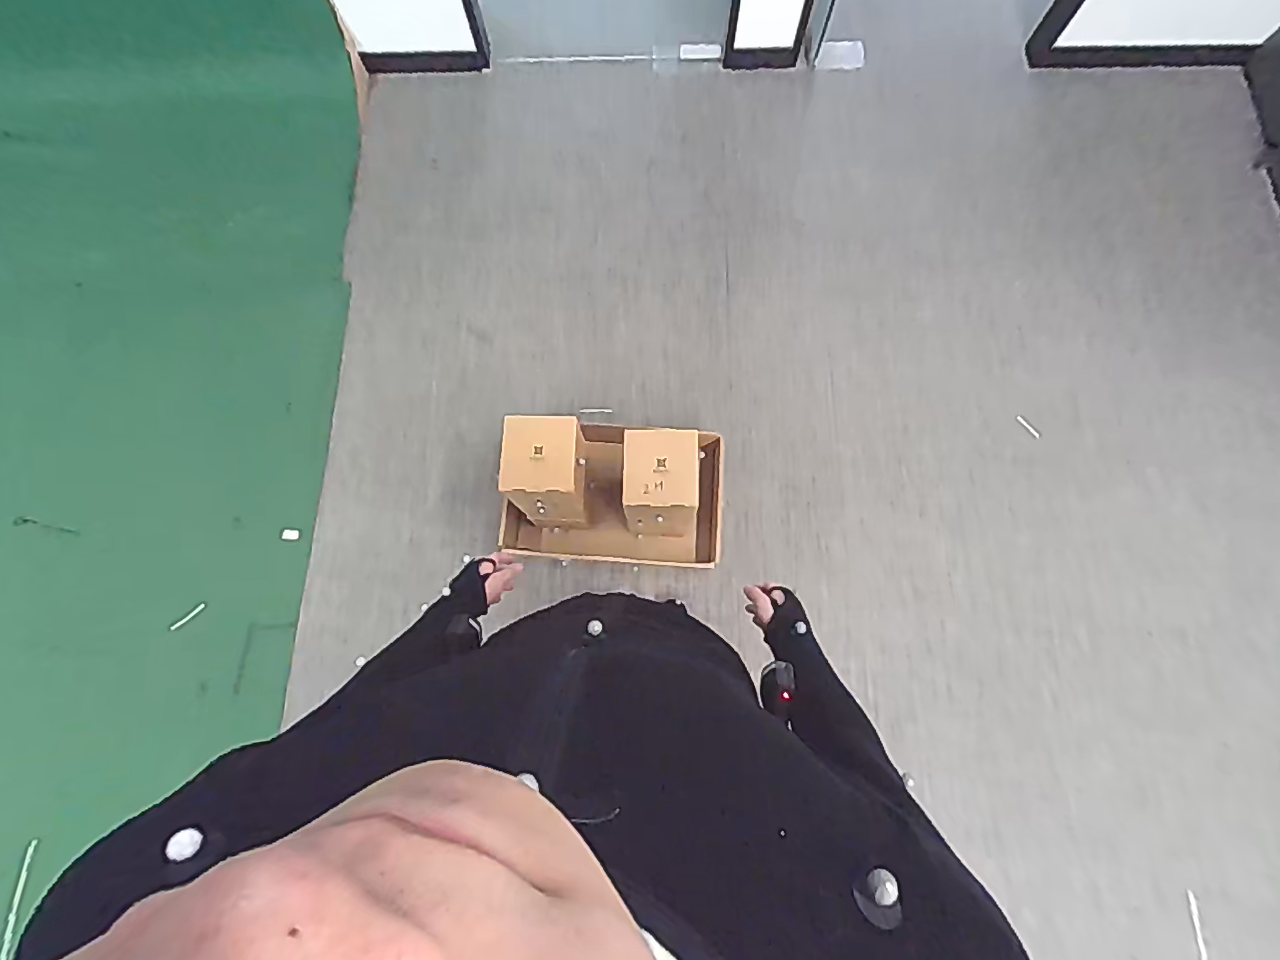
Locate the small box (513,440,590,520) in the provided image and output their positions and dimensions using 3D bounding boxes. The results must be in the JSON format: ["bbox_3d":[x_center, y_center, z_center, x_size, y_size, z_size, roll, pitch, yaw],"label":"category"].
[{"bbox_3d":[-0.225,-0.001,1.417,0.168,0.176,0.179,2,74,2],"label":"small box"}]

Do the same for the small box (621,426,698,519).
[{"bbox_3d":[0.045,-0.013,1.245,0.168,0.176,0.179,1,76,2],"label":"small box"}]

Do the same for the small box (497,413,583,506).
[{"bbox_3d":[-0.225,-0.044,1.260,0.168,0.176,0.179,1,76,1],"label":"small box"}]
